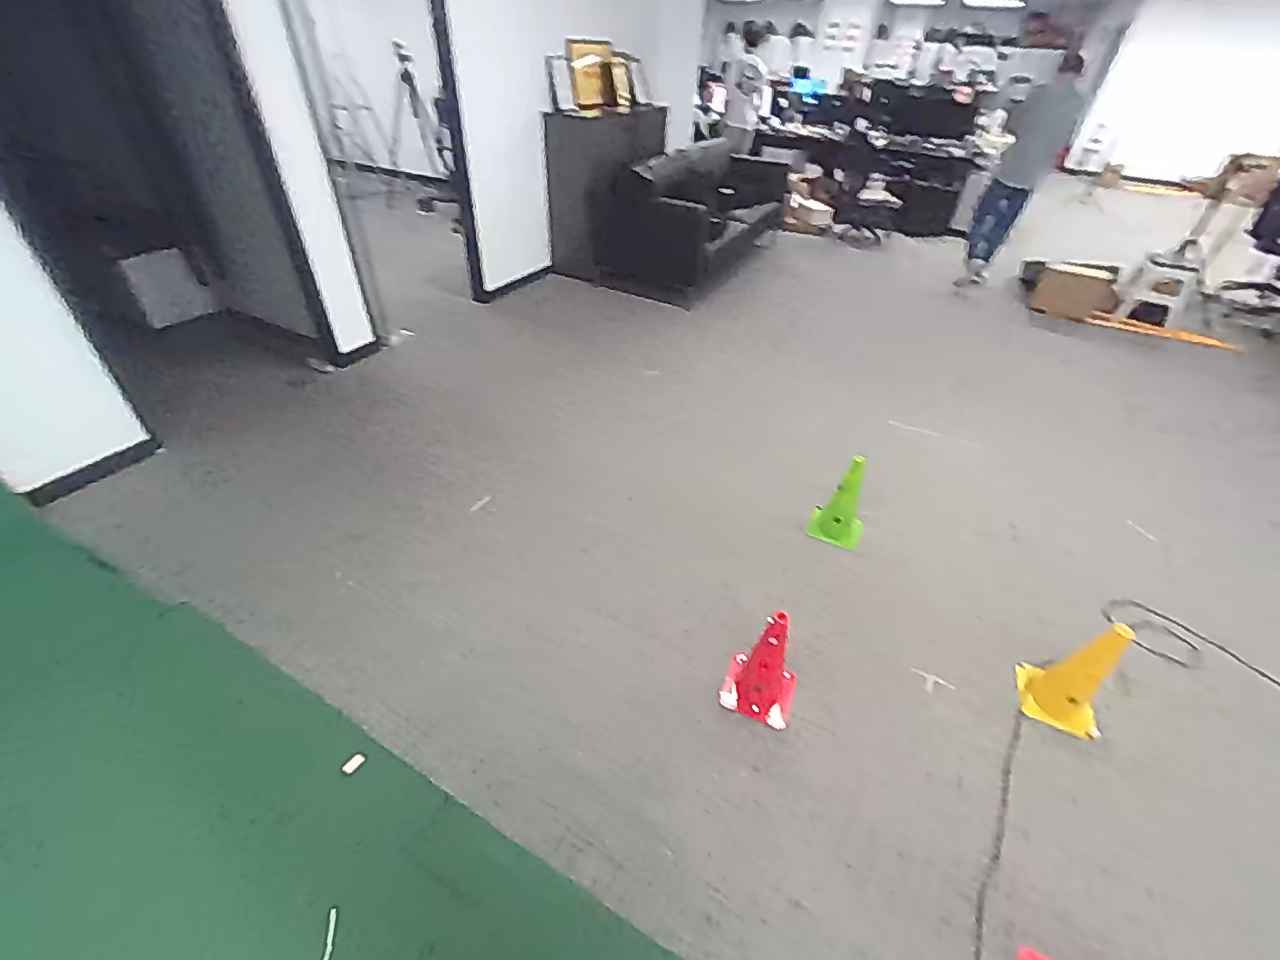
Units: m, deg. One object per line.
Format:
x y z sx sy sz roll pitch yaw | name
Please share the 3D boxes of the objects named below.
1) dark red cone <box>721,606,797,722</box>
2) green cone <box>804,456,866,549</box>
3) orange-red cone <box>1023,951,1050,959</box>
0.366 0.483 1.514 0.202 0.394 0.201 17 42 17 | dark red cone
0.799 0.060 2.107 0.202 0.368 0.200 20 42 19 | green cone
0.886 0.971 0.977 0.198 0.360 0.199 22 41 20 | orange-red cone
